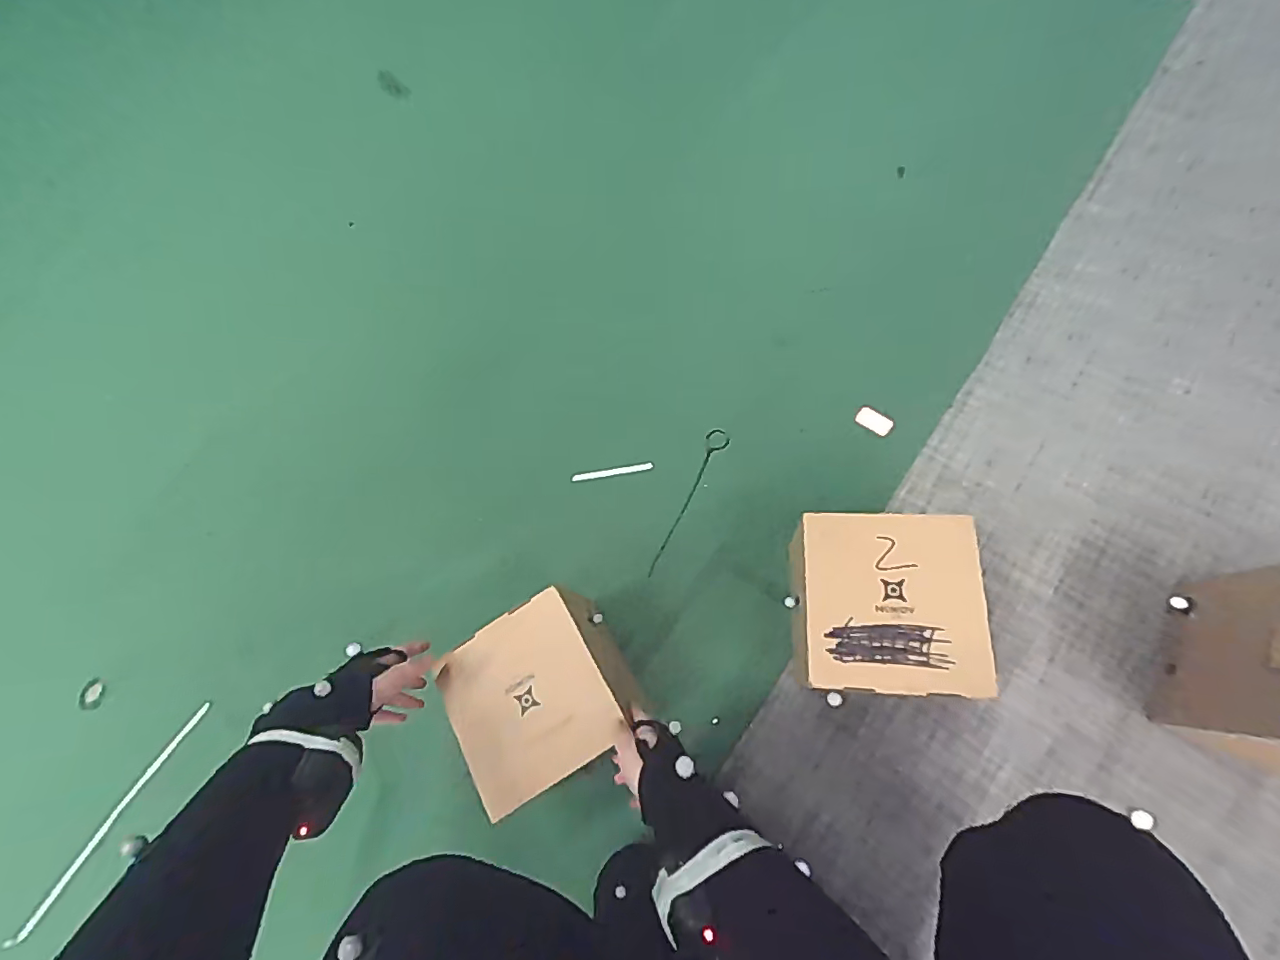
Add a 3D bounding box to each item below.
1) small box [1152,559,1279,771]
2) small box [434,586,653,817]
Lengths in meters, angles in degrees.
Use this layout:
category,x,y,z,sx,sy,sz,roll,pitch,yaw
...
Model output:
category,x,y,z,sx,sy,sz,roll,pitch,yaw
small box,0.651,0.193,0.516,0.179,0.176,0.168,20,76,16
small box,-0.103,0.252,0.639,0.168,0.176,0.179,-32,68,-1
